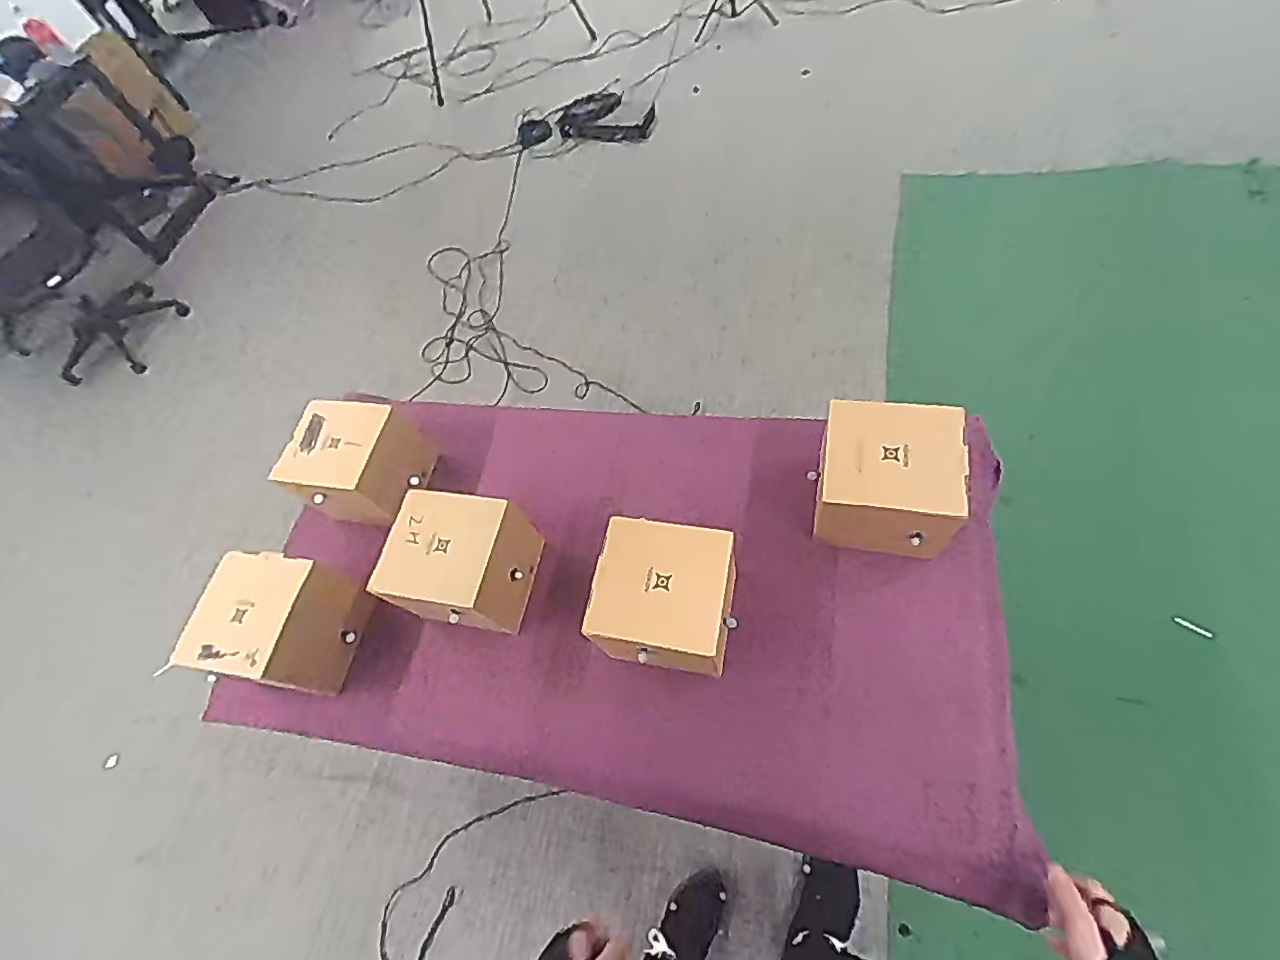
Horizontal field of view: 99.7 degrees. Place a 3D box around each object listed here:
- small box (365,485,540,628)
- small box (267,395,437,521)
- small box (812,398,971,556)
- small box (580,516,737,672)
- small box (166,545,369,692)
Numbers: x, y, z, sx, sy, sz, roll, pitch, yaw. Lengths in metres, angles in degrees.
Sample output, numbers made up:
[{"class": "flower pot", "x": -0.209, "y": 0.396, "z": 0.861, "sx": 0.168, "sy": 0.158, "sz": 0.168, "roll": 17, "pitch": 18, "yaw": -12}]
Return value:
[{"class": "small box", "x": -0.278, "y": 0.126, "z": 0.848, "sx": 0.179, "sy": 0.176, "sz": 0.168, "roll": 7, "pitch": 64, "yaw": 15}, {"class": "small box", "x": -0.507, "y": -0.035, "z": 0.979, "sx": 0.179, "sy": 0.176, "sz": 0.168, "roll": 6, "pitch": 65, "yaw": 14}, {"class": "small box", "x": 0.354, "y": 0.001, "z": 0.783, "sx": 0.179, "sy": 0.176, "sz": 0.168, "roll": 7, "pitch": 66, "yaw": 16}, {"class": "small box", "x": 0.039, "y": 0.167, "z": 0.765, "sx": 0.179, "sy": 0.176, "sz": 0.168, "roll": 6, "pitch": 65, "yaw": 16}, {"class": "small box", "x": -0.567, "y": 0.221, "z": 0.855, "sx": 0.168, "sy": 0.176, "sz": 0.179, "roll": 4, "pitch": 62, "yaw": 14}]
